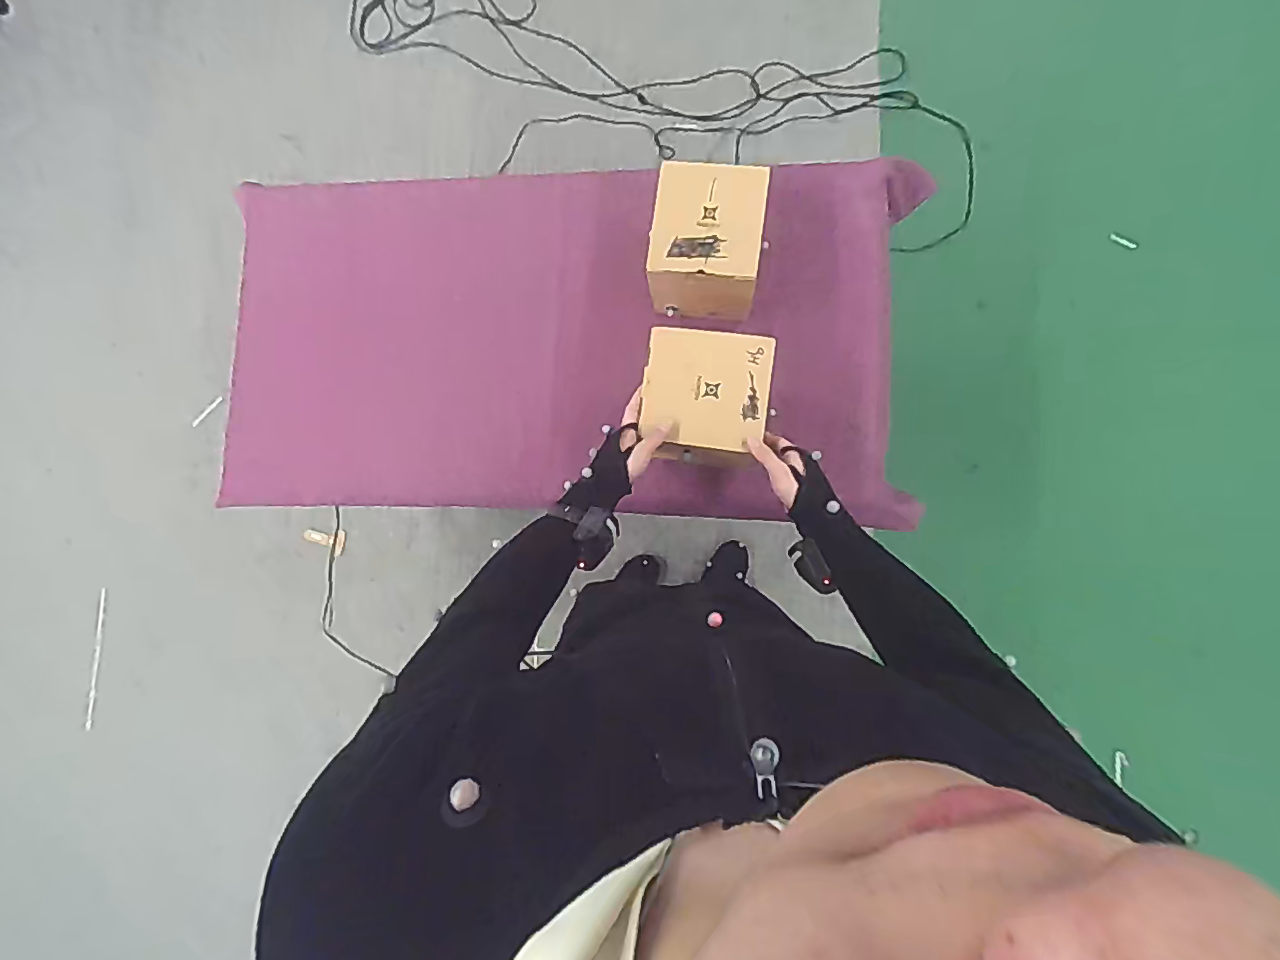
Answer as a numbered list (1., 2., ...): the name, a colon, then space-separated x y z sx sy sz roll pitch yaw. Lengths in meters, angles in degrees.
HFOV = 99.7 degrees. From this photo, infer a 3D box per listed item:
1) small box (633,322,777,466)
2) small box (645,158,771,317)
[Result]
1. small box: 0.098 -0.120 0.812 0.179 0.176 0.168 8 85 7
2. small box: 0.109 -0.380 0.873 0.168 0.176 0.179 8 85 7
